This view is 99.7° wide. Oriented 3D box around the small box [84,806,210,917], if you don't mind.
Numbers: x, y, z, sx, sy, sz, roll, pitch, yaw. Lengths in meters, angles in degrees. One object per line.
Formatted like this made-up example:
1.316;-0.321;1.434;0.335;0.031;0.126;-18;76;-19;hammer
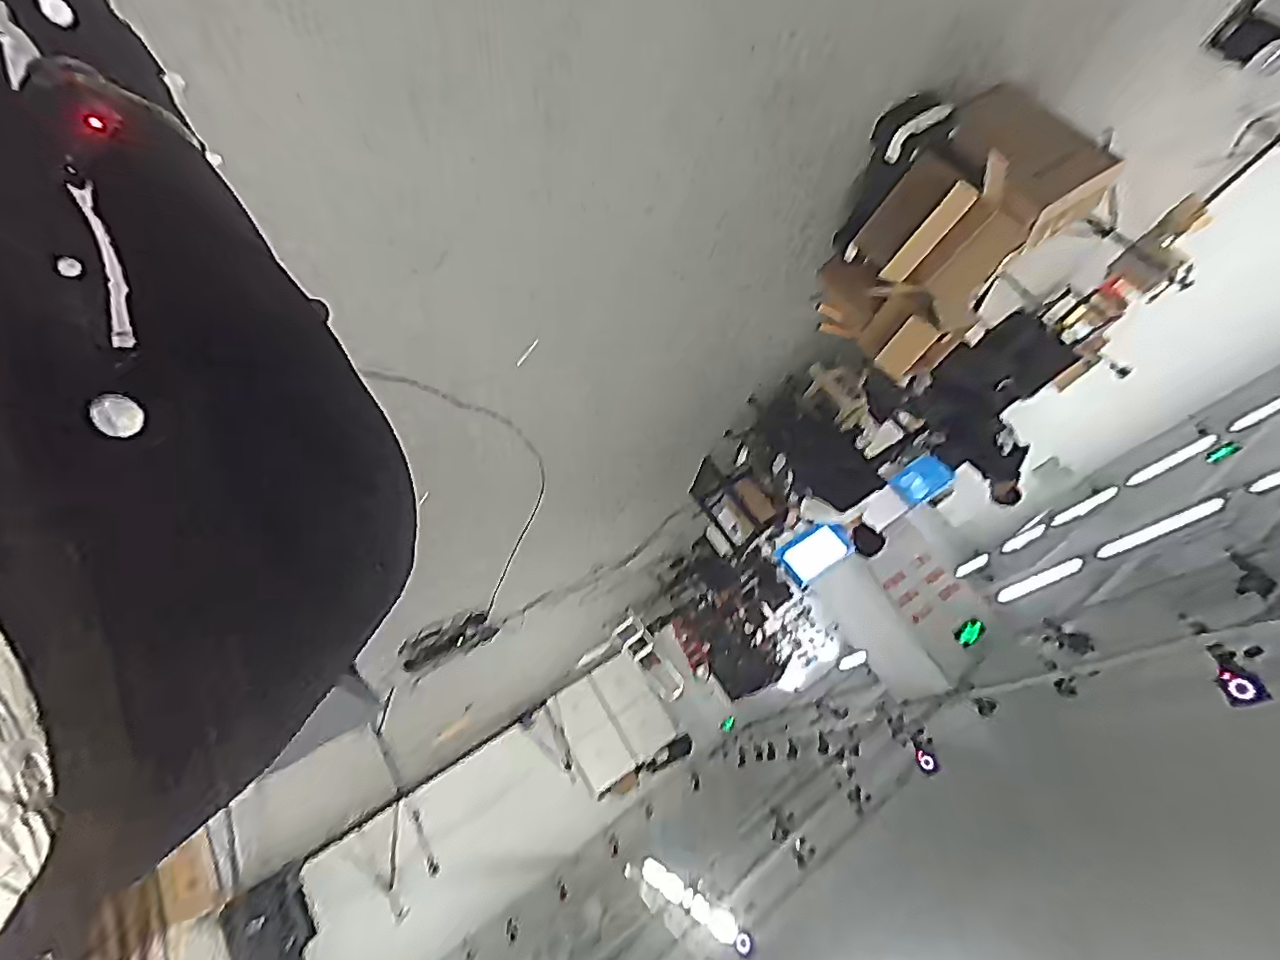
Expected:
-1.306;0.994;1.434;0.179;0.176;0.168;-29;160;-17;small box

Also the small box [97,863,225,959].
-1.209;1.112;1.366;0.168;0.176;0.179;-28;159;-20;small box
